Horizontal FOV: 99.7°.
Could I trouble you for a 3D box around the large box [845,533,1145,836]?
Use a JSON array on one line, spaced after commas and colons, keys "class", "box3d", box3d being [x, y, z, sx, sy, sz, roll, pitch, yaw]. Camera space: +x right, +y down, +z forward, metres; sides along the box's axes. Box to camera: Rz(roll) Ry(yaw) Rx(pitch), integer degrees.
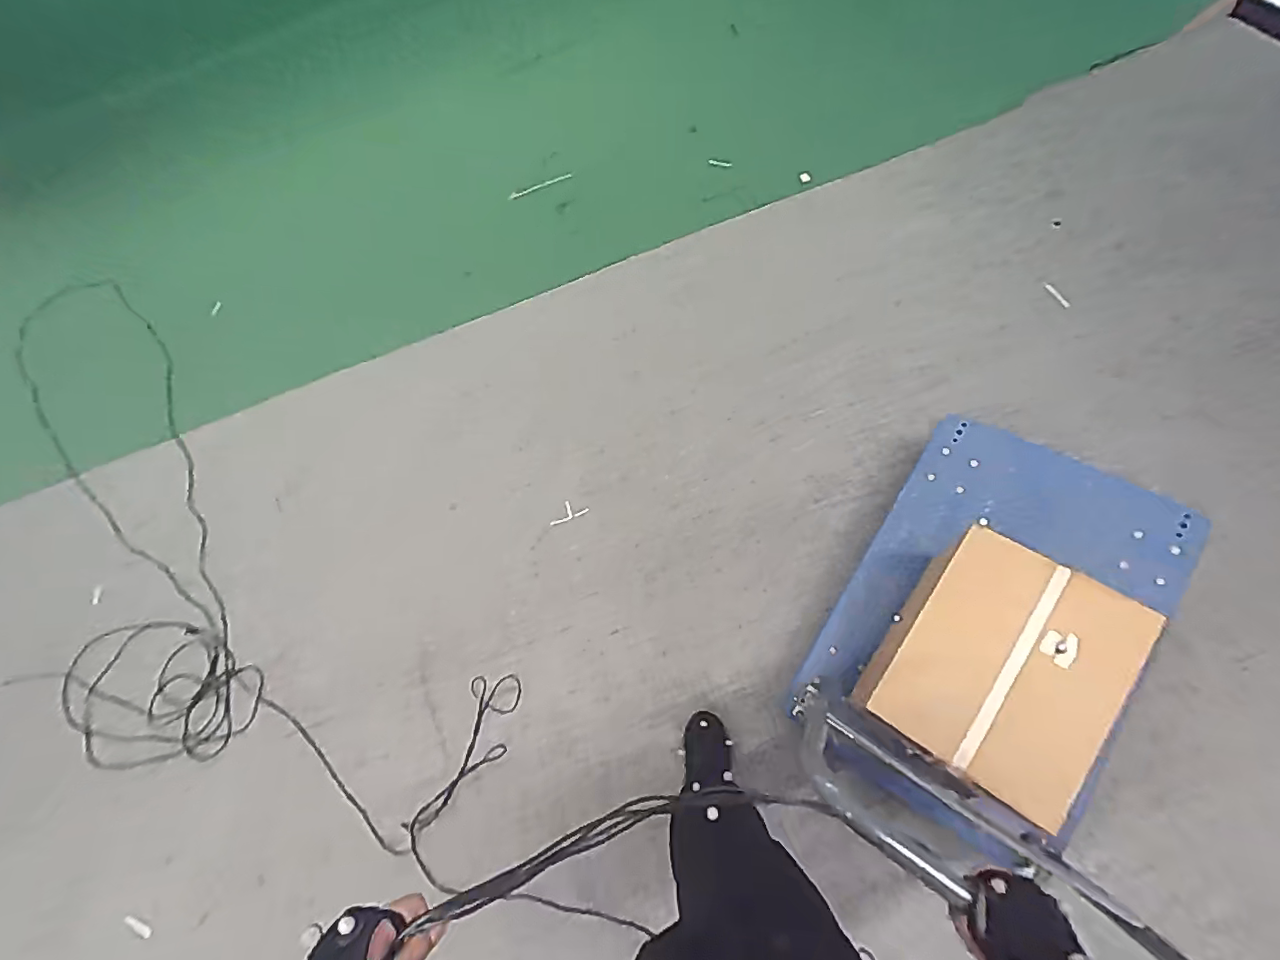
[{"class": "large box", "box3d": [0.655, 0.386, 1.069, 0.320, 0.320, 0.408, 33, 80, 23]}]
